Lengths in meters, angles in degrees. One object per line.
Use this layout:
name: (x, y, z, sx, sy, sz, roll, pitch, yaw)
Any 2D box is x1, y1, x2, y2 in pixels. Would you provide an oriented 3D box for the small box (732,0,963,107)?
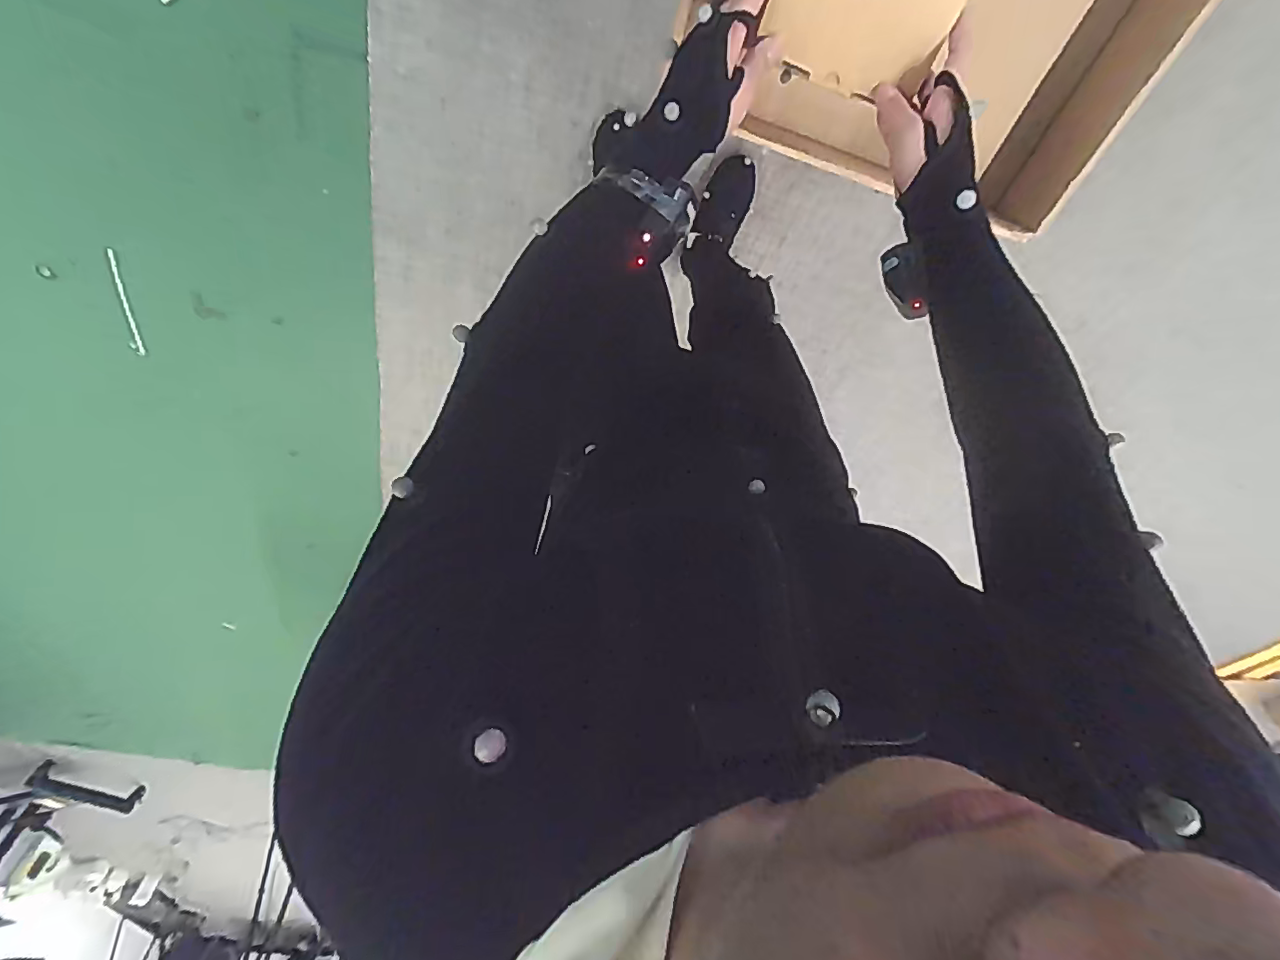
small box: (0.199, -0.488, 0.503, 0.168, 0.176, 0.179, 12, 131, -13)

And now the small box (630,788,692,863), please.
small box: (0.069, 1.173, 1.834, 0.168, 0.176, 0.179, 13, 130, -10)
